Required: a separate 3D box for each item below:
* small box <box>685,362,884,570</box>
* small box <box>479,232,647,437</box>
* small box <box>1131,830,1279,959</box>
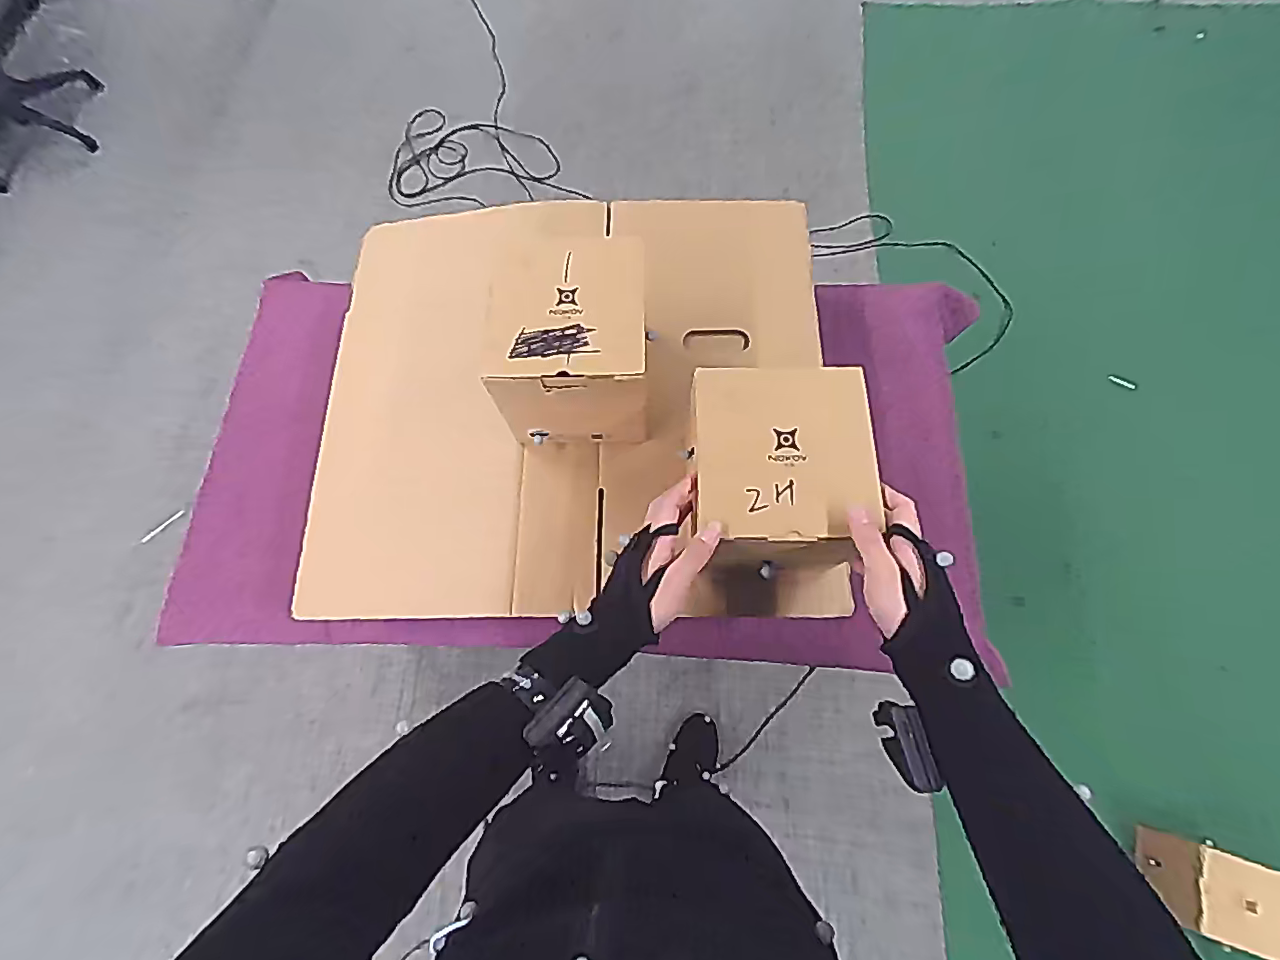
[{"bbox_3d":[0.135,-0.007,0.576,0.168,0.176,0.179,1,71,2],"label":"small box"},{"bbox_3d":[-0.076,-0.158,0.631,0.168,0.176,0.179,0,70,0],"label":"small box"},{"bbox_3d":[1.222,0.889,1.164,0.179,0.176,0.168,17,73,10],"label":"small box"}]
